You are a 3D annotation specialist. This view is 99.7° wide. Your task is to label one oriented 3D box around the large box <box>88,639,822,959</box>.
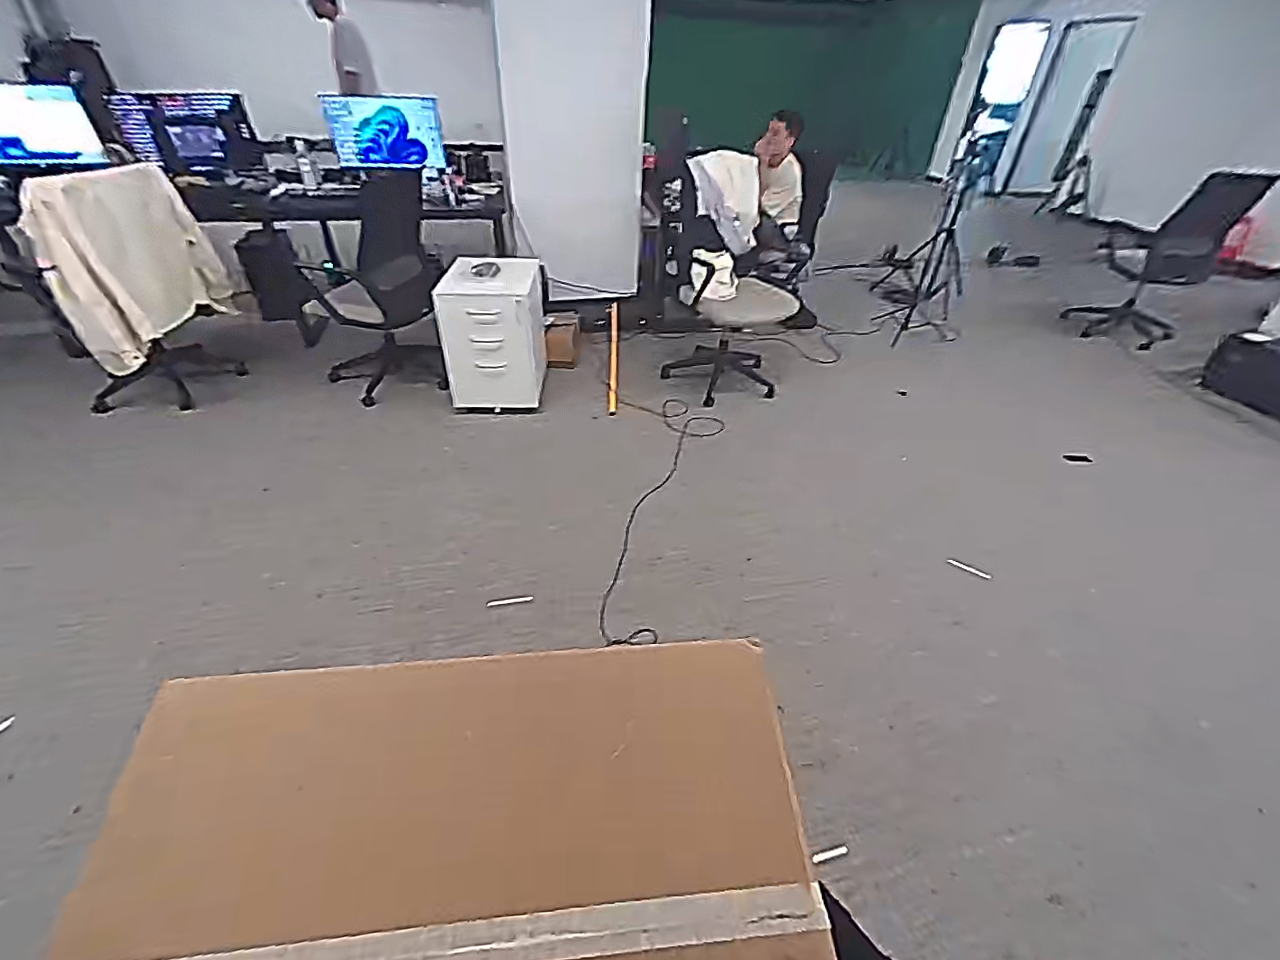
[{"bbox_3d":[-0.105,0.343,0.418,0.408,0.320,0.320,-2,53,-5],"label":"large box"}]
